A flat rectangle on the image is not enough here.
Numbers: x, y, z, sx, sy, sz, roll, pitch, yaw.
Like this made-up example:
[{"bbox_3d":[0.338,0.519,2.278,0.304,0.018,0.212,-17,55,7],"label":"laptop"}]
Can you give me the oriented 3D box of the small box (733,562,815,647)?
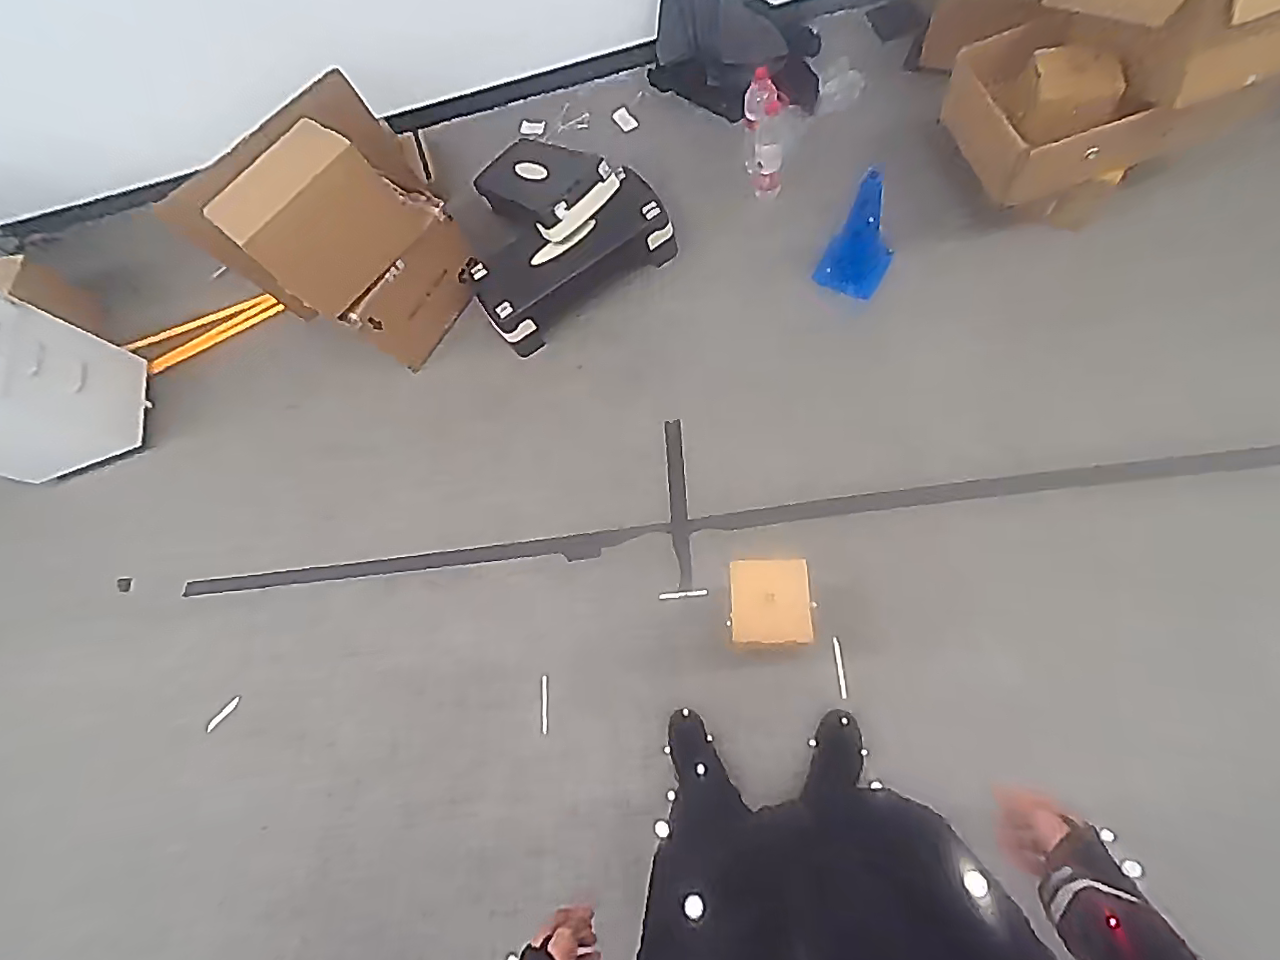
[{"bbox_3d":[0.299,0.287,1.229,0.168,0.176,0.179,-4,73,11],"label":"small box"}]
